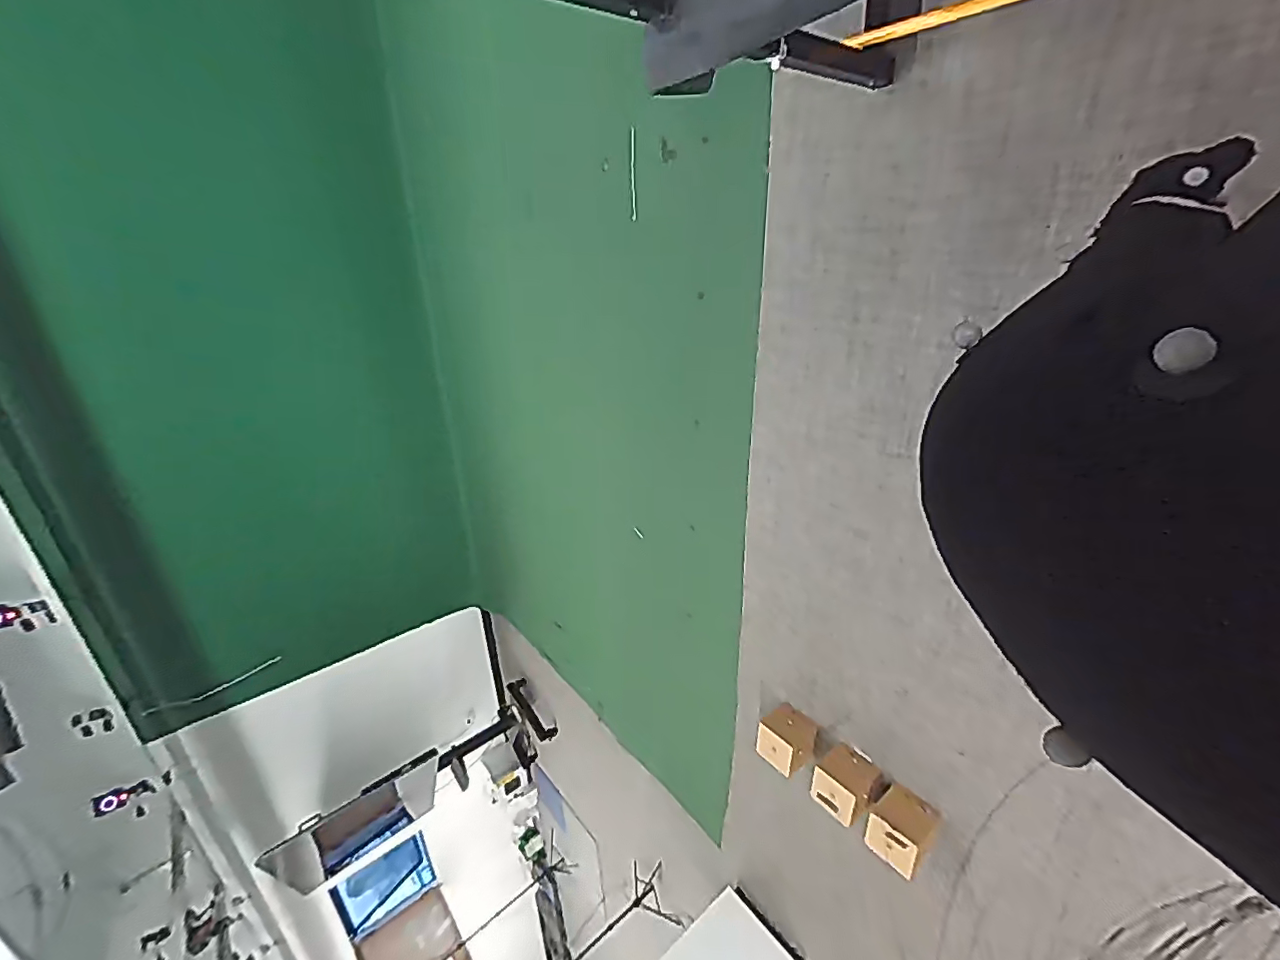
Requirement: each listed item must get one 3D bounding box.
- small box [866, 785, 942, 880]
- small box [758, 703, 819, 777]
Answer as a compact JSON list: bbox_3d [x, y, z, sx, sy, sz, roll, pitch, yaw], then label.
[{"bbox_3d":[0.905,1.196,1.850,0.168,0.176,0.179,25,126,46],"label":"small box"},{"bbox_3d":[0.605,1.047,2.195,0.168,0.176,0.179,27,127,46],"label":"small box"}]
